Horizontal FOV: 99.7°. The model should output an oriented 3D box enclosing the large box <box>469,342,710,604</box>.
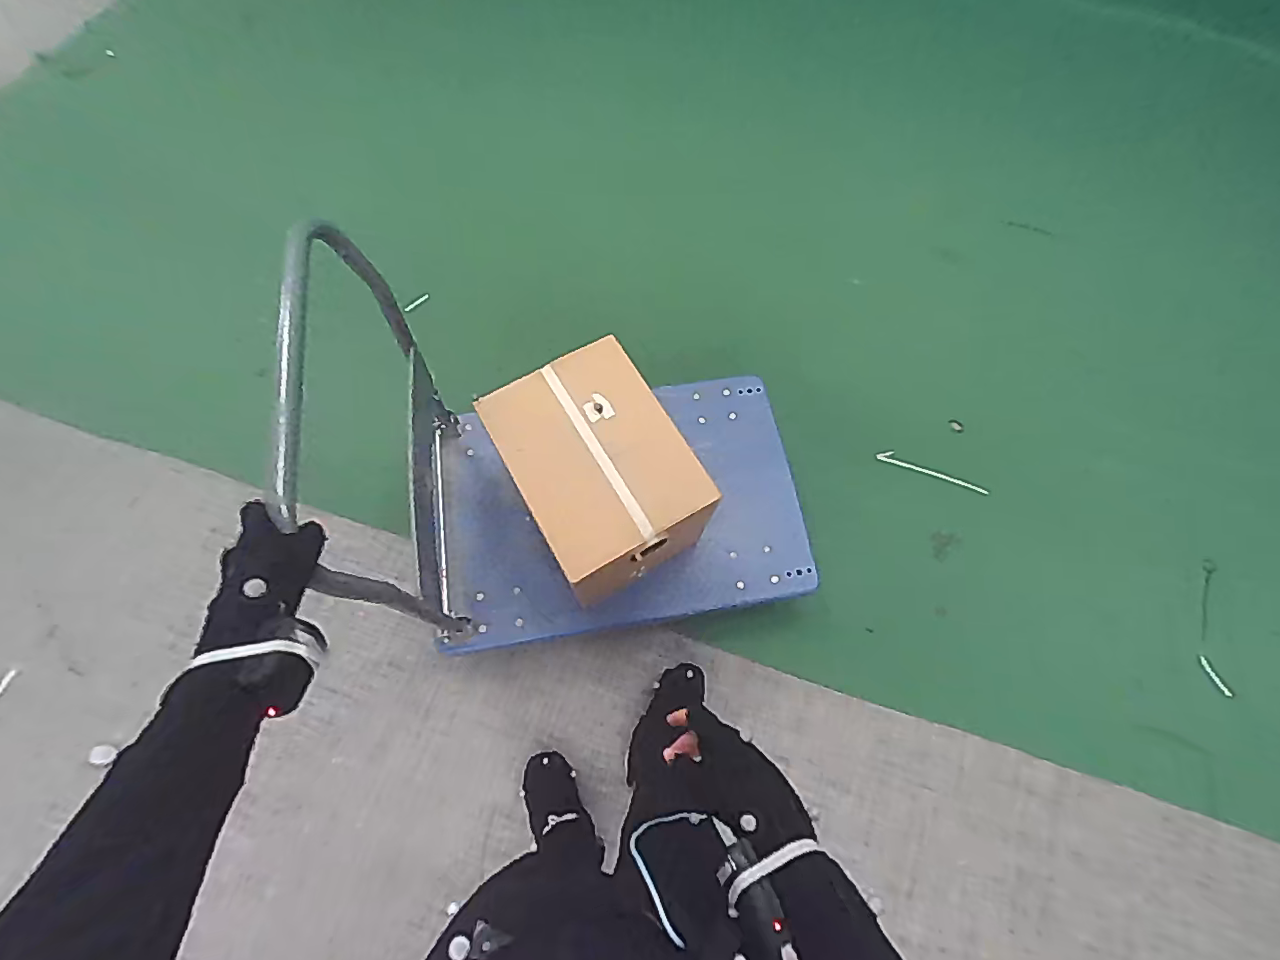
[{"bbox_3d":[-0.100,0.000,1.154,0.320,0.320,0.408,-29,72,-12],"label":"large box"}]
